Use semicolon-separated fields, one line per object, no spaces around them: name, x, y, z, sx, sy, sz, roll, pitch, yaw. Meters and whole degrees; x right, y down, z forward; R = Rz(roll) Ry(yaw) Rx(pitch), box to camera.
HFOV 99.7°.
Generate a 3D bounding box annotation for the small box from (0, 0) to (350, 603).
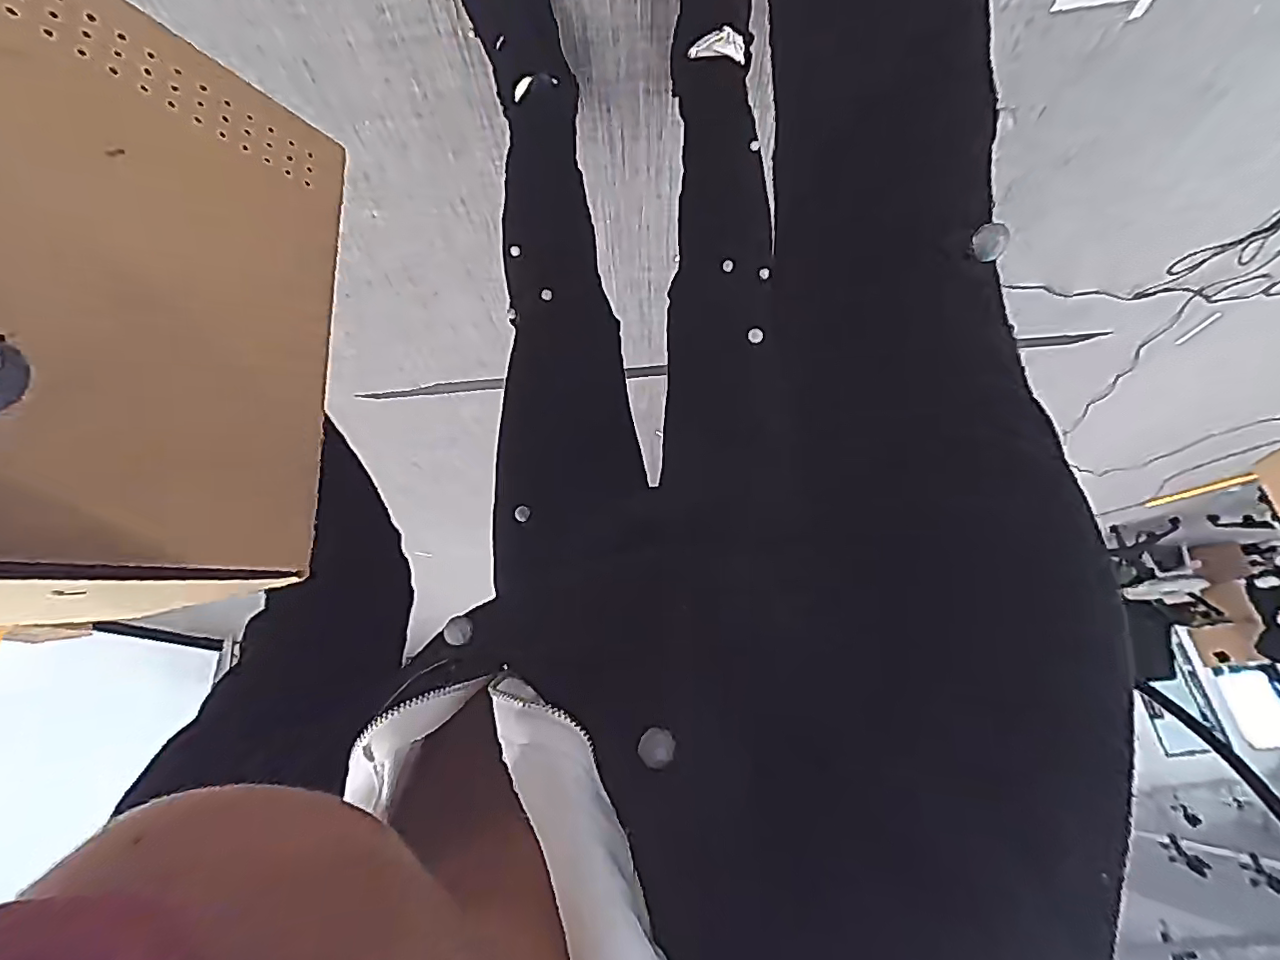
small box;-0.218;-0.054;0.172;0.168;0.176;0.179;-15;161;31
